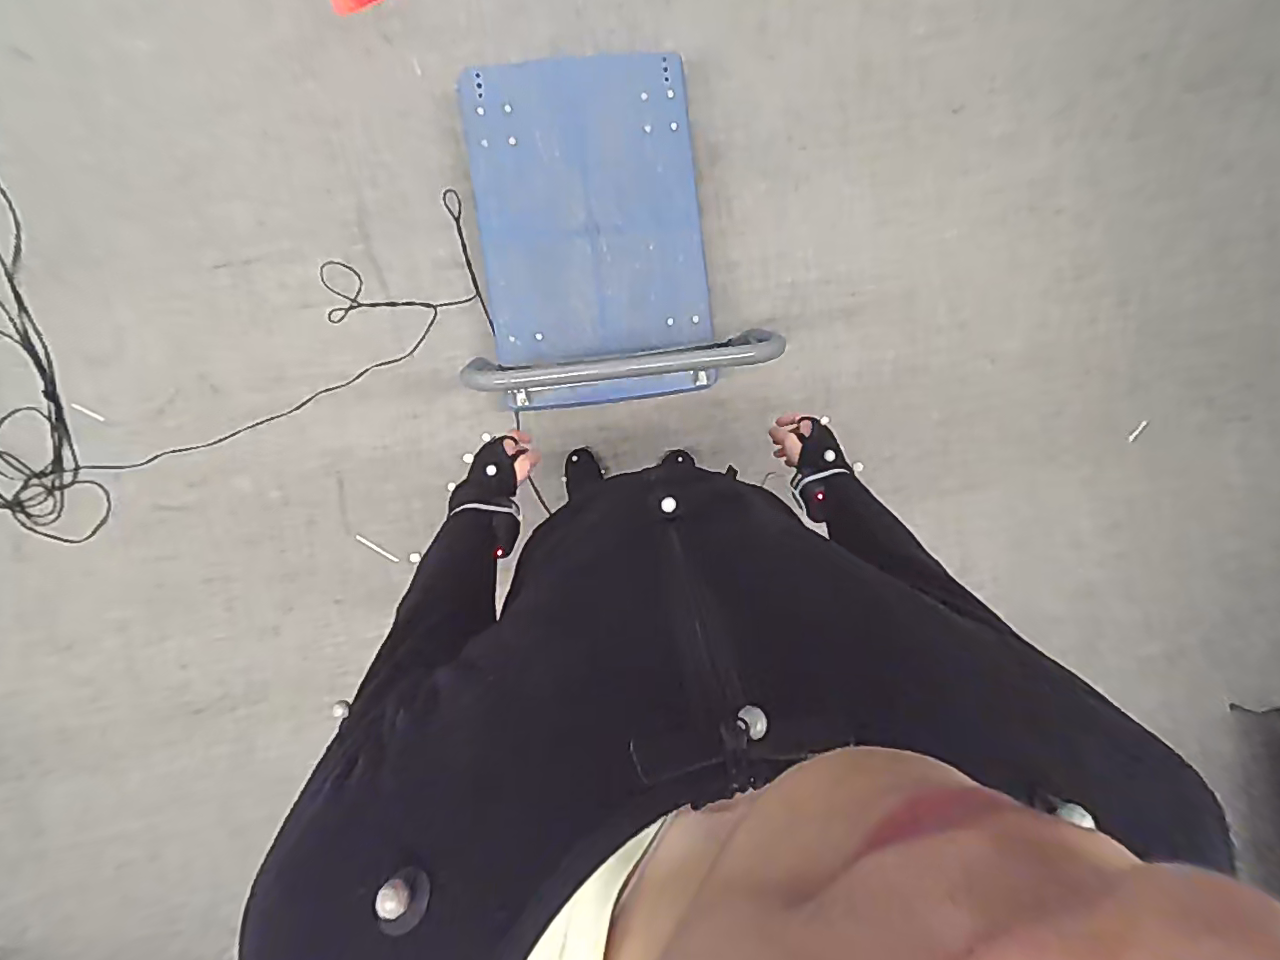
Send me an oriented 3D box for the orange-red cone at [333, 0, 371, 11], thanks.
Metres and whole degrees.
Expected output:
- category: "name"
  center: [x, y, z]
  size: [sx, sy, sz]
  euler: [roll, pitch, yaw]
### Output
- category: "orange-red cone"
  center: [-0.776, -1.405, 1.319]
  size: [0.199, 0.360, 0.198]
  euler: [-25, 94, 0]
